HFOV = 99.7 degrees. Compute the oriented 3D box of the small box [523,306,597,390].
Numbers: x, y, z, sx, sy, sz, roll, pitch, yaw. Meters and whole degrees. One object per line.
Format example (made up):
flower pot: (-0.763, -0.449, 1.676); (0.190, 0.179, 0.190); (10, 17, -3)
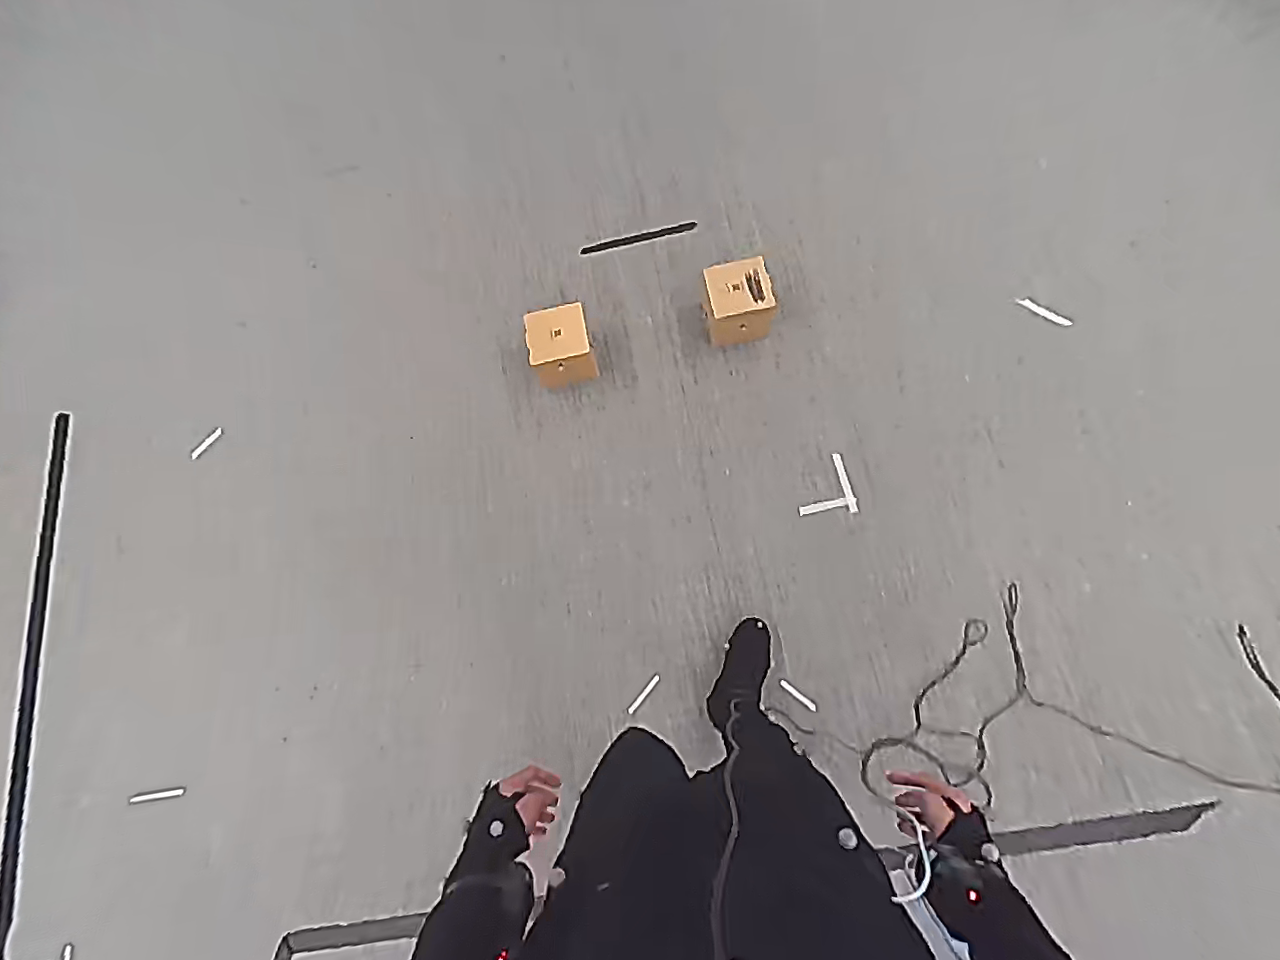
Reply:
small box: (-0.232, -0.389, 1.615); (0.179, 0.176, 0.168); (-12, 75, 3)
